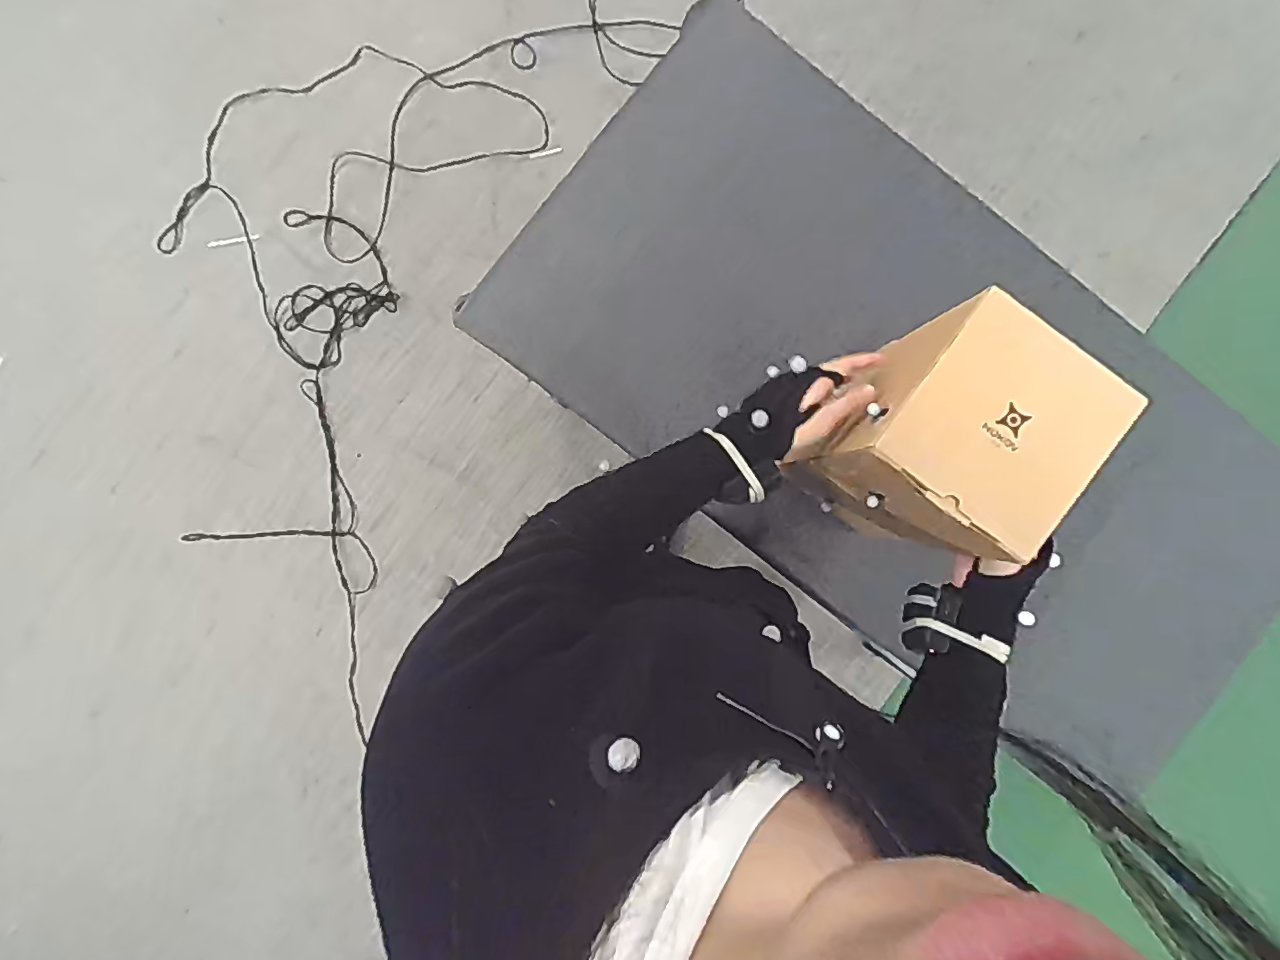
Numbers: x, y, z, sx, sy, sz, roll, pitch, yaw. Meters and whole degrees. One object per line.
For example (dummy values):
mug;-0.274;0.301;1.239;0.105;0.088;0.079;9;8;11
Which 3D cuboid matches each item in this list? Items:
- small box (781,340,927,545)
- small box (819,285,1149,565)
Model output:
small box;0.304;-0.041;0.685;0.168;0.176;0.179;36;89;1
small box;0.304;-0.045;0.523;0.168;0.176;0.179;37;89;1
